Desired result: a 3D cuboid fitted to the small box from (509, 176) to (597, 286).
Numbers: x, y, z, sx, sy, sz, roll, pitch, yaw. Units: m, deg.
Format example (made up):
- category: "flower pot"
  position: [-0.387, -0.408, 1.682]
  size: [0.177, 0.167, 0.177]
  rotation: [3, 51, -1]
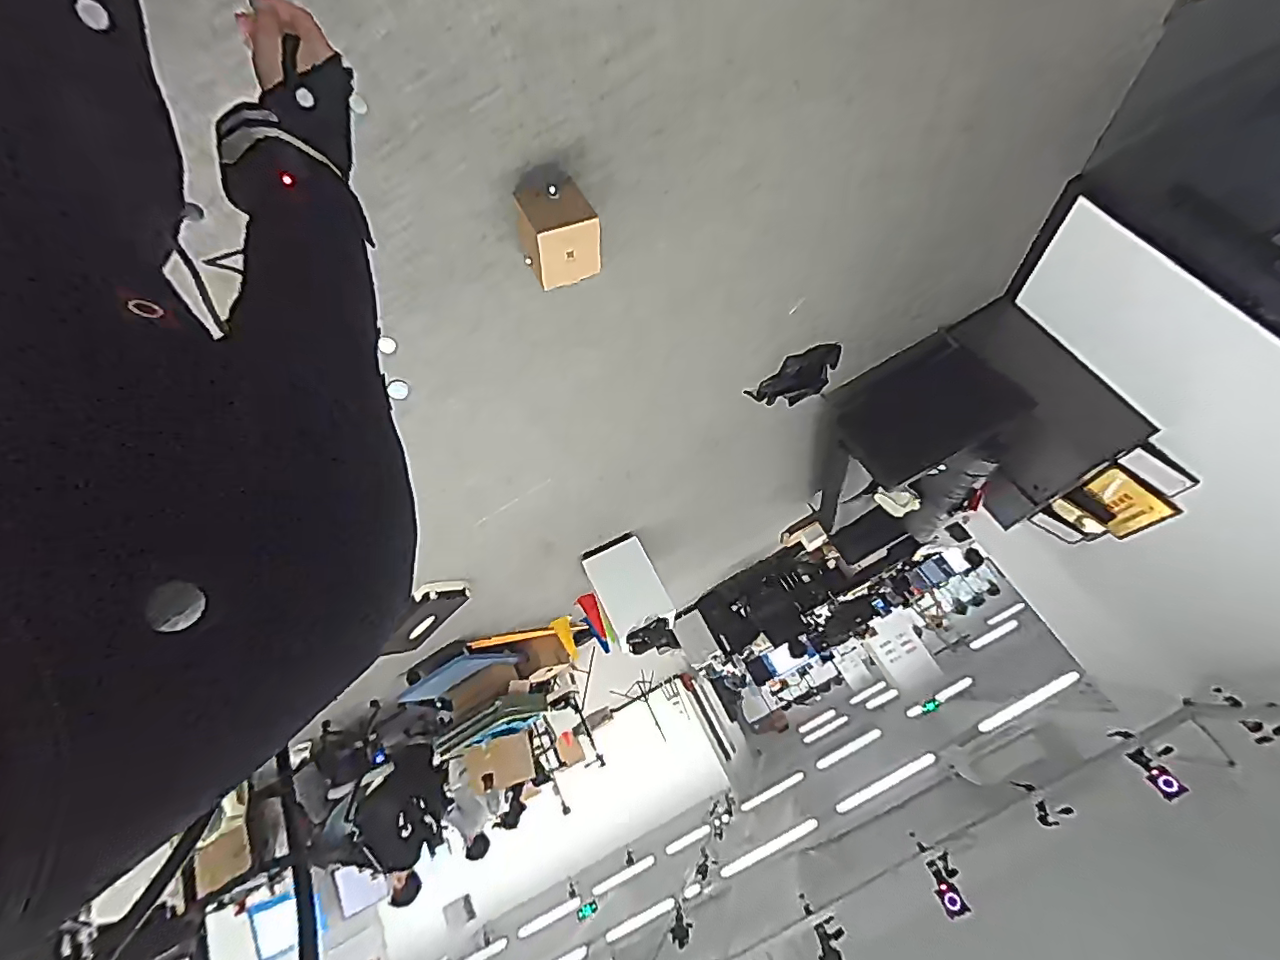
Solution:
- category: "small box"
  position: [-0.222, -0.643, 1.398]
  size: [0.168, 0.176, 0.179]
  rotation: [-24, 155, -15]
